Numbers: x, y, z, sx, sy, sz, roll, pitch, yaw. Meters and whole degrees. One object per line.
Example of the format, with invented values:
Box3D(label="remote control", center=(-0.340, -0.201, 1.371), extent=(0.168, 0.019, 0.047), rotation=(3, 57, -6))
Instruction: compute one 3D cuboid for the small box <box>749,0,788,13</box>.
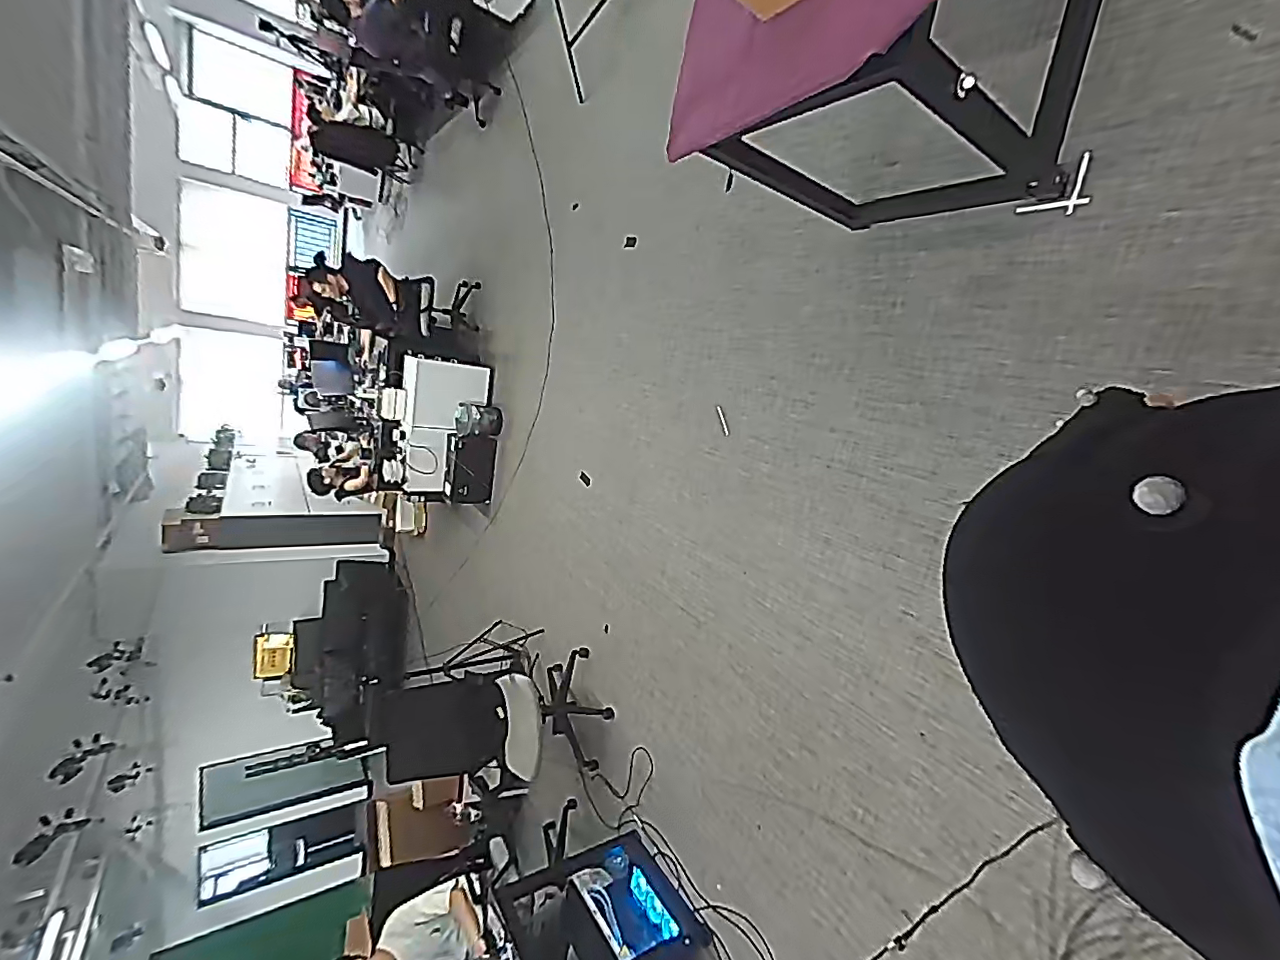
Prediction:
Box3D(label="small box", center=(0.250, -1.003, 0.973), extent=(0.179, 0.176, 0.168), rotation=(21, 105, 52))
